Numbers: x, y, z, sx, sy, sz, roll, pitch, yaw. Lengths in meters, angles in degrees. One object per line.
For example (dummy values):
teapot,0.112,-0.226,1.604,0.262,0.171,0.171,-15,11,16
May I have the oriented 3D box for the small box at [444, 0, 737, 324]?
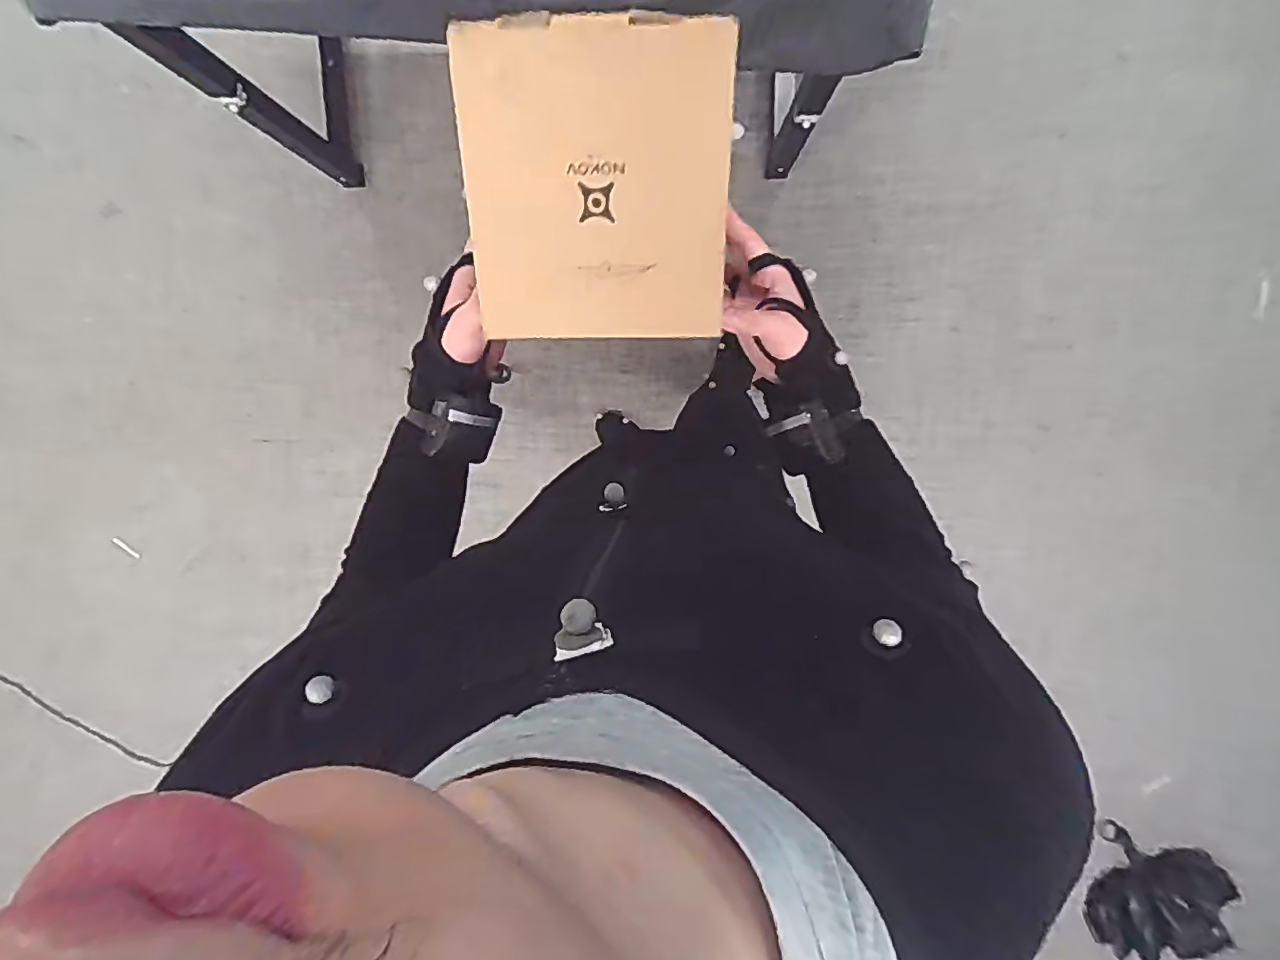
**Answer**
small box,-0.026,-0.218,0.403,0.168,0.176,0.179,0,115,2
